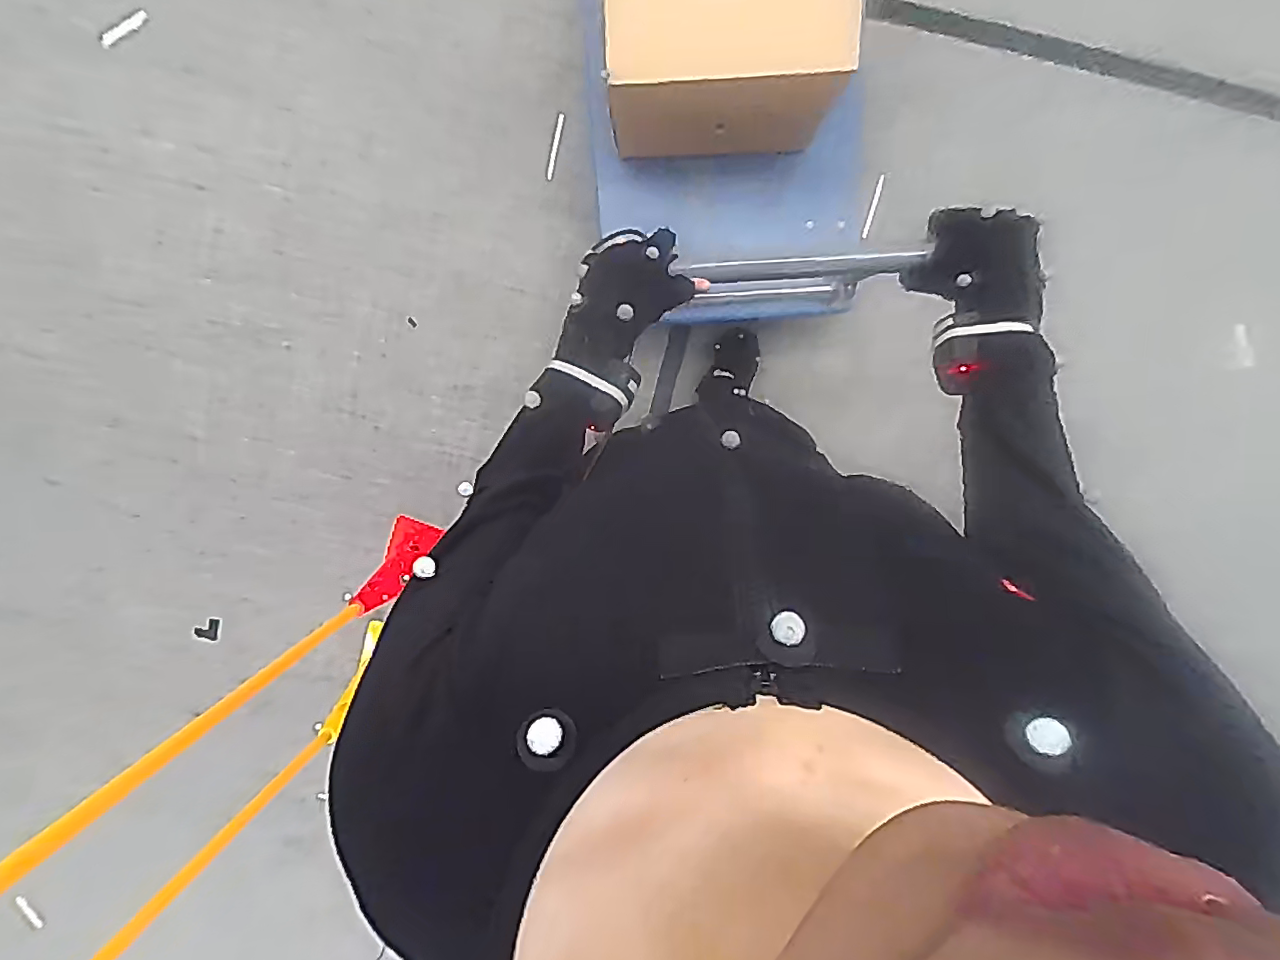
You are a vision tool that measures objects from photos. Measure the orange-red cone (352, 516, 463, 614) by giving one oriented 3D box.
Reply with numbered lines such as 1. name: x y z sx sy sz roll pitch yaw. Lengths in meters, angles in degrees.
1. orange-red cone: -0.617 0.245 1.361 0.198 0.360 0.199 21 99 -3

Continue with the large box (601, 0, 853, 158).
1. large box: 0.143 -0.824 0.994 0.408 0.320 0.320 -2 101 3
